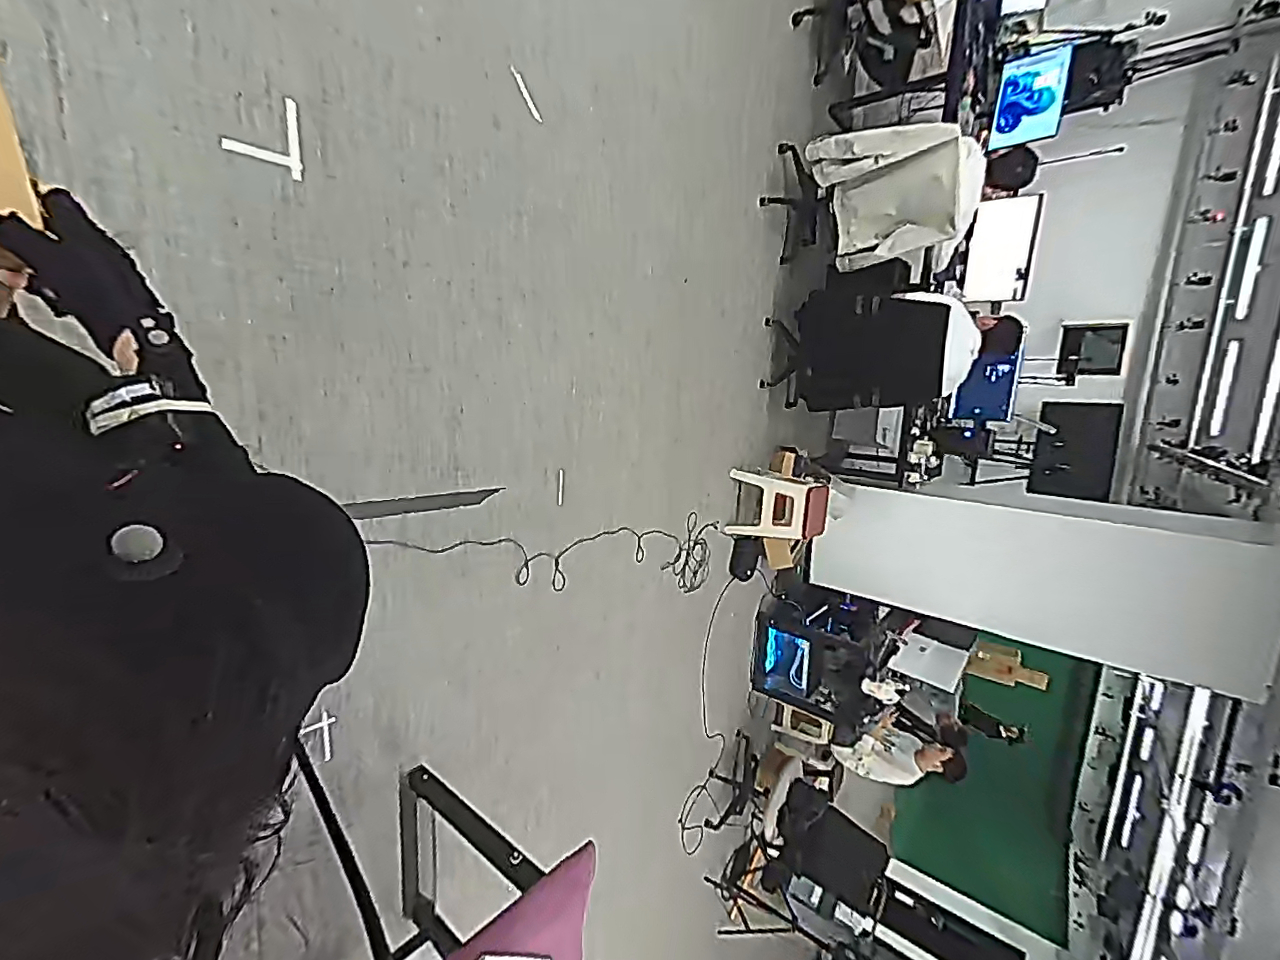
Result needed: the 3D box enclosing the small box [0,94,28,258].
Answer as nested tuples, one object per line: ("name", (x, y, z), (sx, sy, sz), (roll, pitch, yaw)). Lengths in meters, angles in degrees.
("small box", (-0.605, -0.262, 0.393), (0.168, 0.176, 0.179), (-13, 86, -60))
